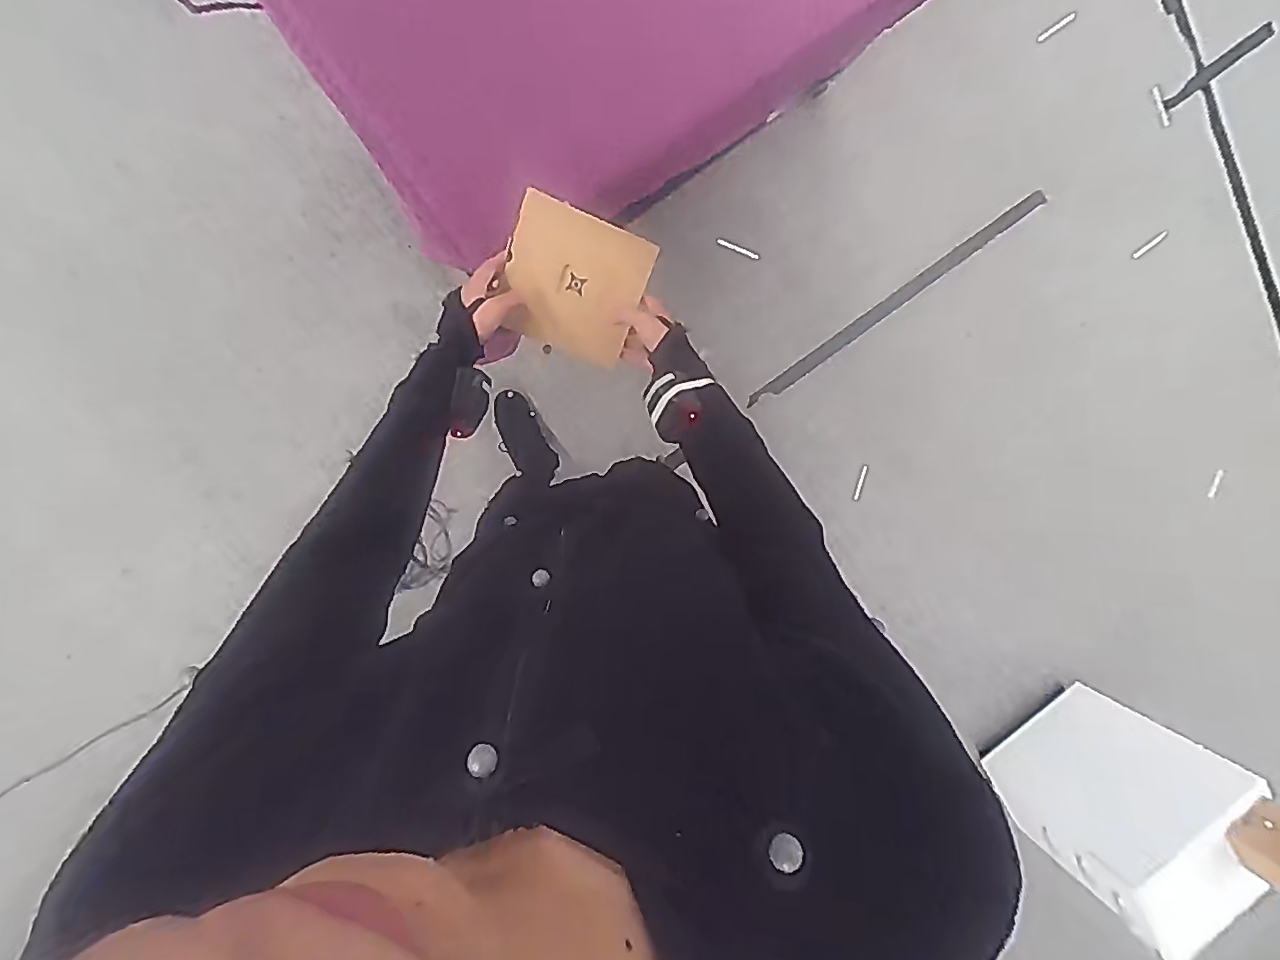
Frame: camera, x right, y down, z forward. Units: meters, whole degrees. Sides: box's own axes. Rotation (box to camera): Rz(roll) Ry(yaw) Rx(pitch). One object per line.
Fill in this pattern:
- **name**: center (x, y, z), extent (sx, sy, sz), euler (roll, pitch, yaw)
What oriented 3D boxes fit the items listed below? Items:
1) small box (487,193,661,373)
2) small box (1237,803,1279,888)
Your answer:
- **small box**: center (-0.091, -0.262, 0.750), extent (0.179, 0.176, 0.168), euler (20, 104, -12)
- **small box**: center (1.848, 1.058, 1.511), extent (0.168, 0.176, 0.179), euler (-36, 105, -3)
